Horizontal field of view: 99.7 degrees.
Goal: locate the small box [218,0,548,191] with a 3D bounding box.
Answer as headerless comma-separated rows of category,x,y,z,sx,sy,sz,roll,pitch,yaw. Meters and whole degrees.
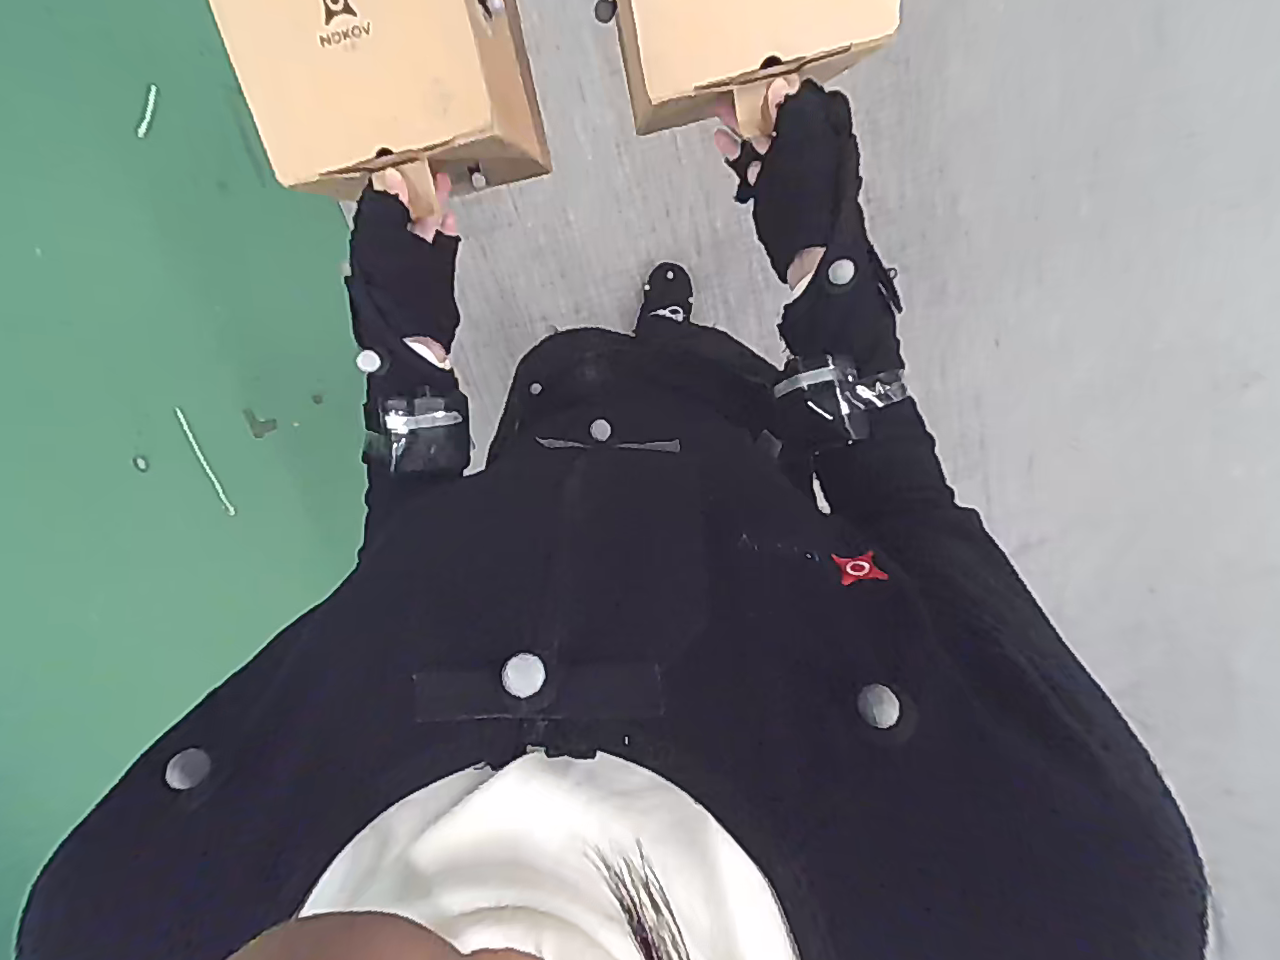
small box,-0.183,-0.338,0.417,0.168,0.176,0.179,-10,109,8
